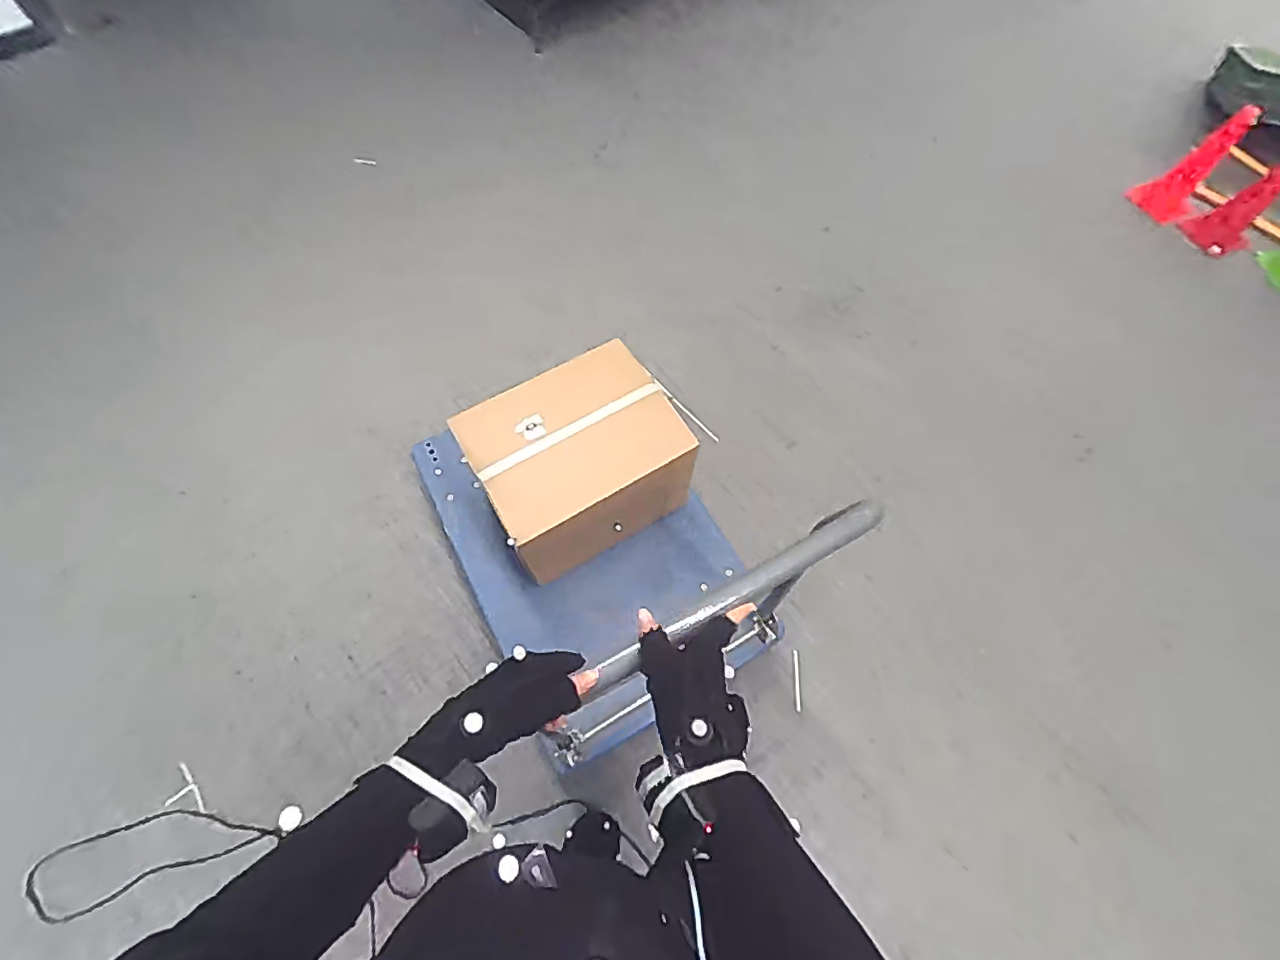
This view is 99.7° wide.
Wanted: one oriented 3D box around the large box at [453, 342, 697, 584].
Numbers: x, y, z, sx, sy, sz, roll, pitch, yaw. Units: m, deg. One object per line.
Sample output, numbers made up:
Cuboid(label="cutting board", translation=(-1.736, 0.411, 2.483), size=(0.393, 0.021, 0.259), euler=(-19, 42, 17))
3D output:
Cuboid(label="large box", translation=(-0.130, -0.027, 1.211), size=(0.408, 0.320, 0.320), euler=(-30, 68, -13))
